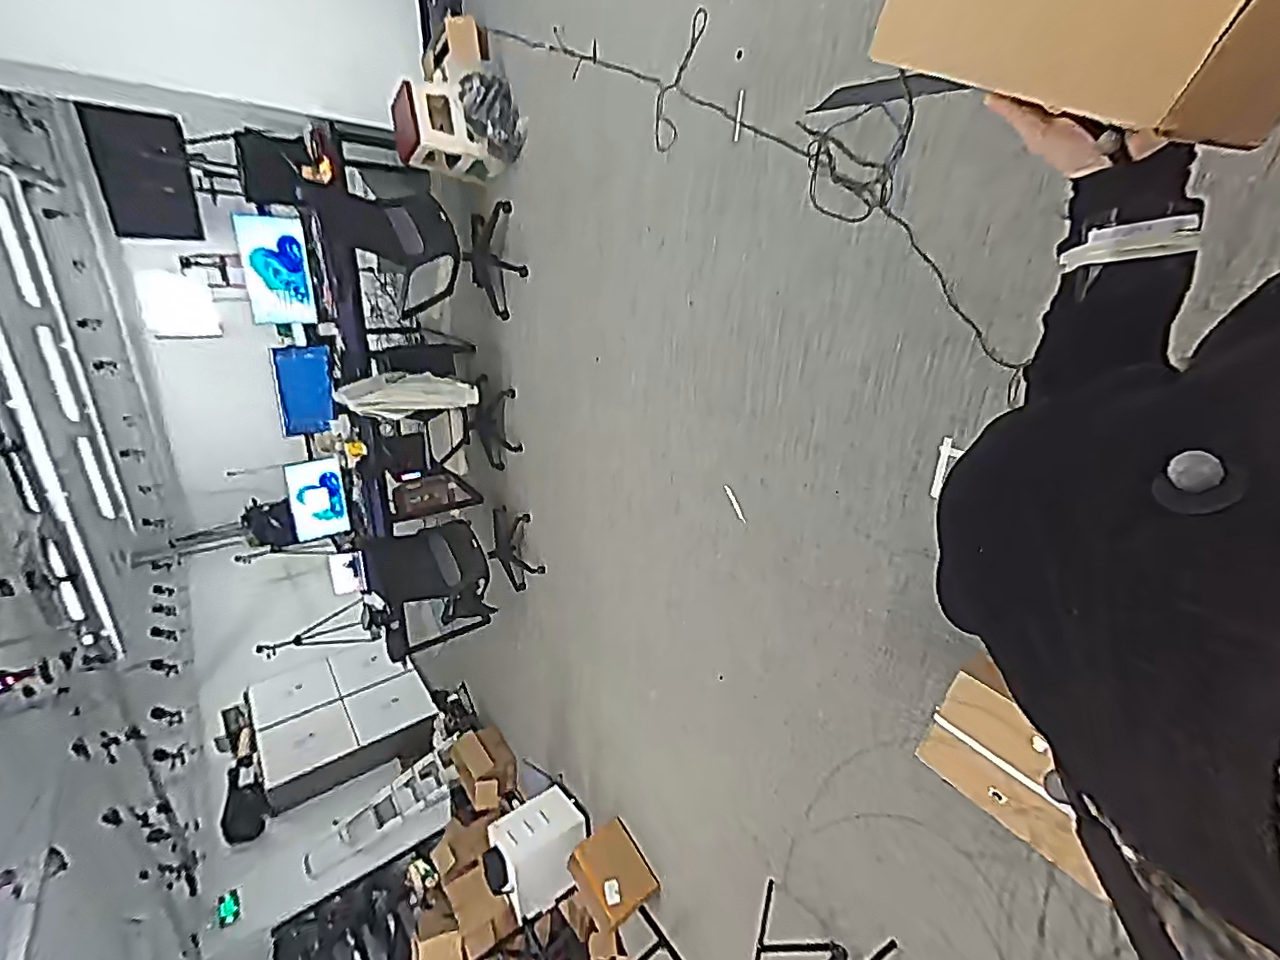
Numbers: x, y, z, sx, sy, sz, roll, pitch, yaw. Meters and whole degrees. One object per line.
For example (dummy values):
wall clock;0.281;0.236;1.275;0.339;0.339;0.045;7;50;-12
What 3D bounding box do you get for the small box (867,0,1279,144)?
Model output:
small box;0.269;-0.289;0.282;0.179;0.176;0.168;50;143;36
